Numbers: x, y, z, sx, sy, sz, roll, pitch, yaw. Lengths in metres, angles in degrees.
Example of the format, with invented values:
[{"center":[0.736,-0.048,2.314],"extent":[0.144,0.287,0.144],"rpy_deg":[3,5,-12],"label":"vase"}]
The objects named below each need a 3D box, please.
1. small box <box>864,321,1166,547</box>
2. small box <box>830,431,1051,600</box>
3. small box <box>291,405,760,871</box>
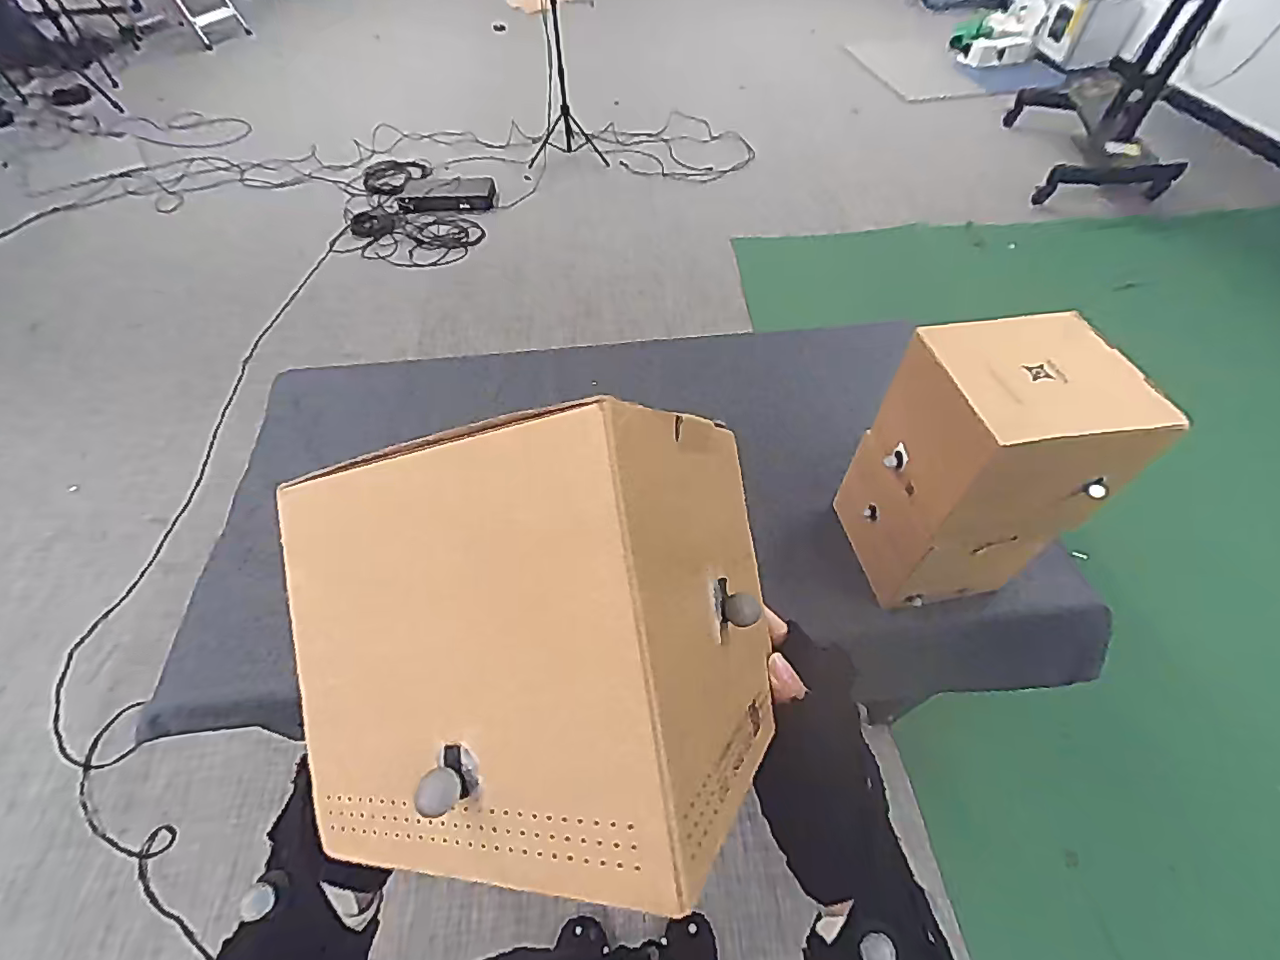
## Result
[{"center":[0.374,-0.045,0.583],"extent":[0.179,0.176,0.168],"rpy_deg":[-7,52,-3],"label":"small box"},{"center":[0.376,0.045,0.718],"extent":[0.168,0.176,0.179],"rpy_deg":[-8,52,-5],"label":"small box"},{"center":[-0.044,0.067,0.289],"extent":[0.179,0.168,0.176],"rpy_deg":[-11,85,23],"label":"small box"}]
